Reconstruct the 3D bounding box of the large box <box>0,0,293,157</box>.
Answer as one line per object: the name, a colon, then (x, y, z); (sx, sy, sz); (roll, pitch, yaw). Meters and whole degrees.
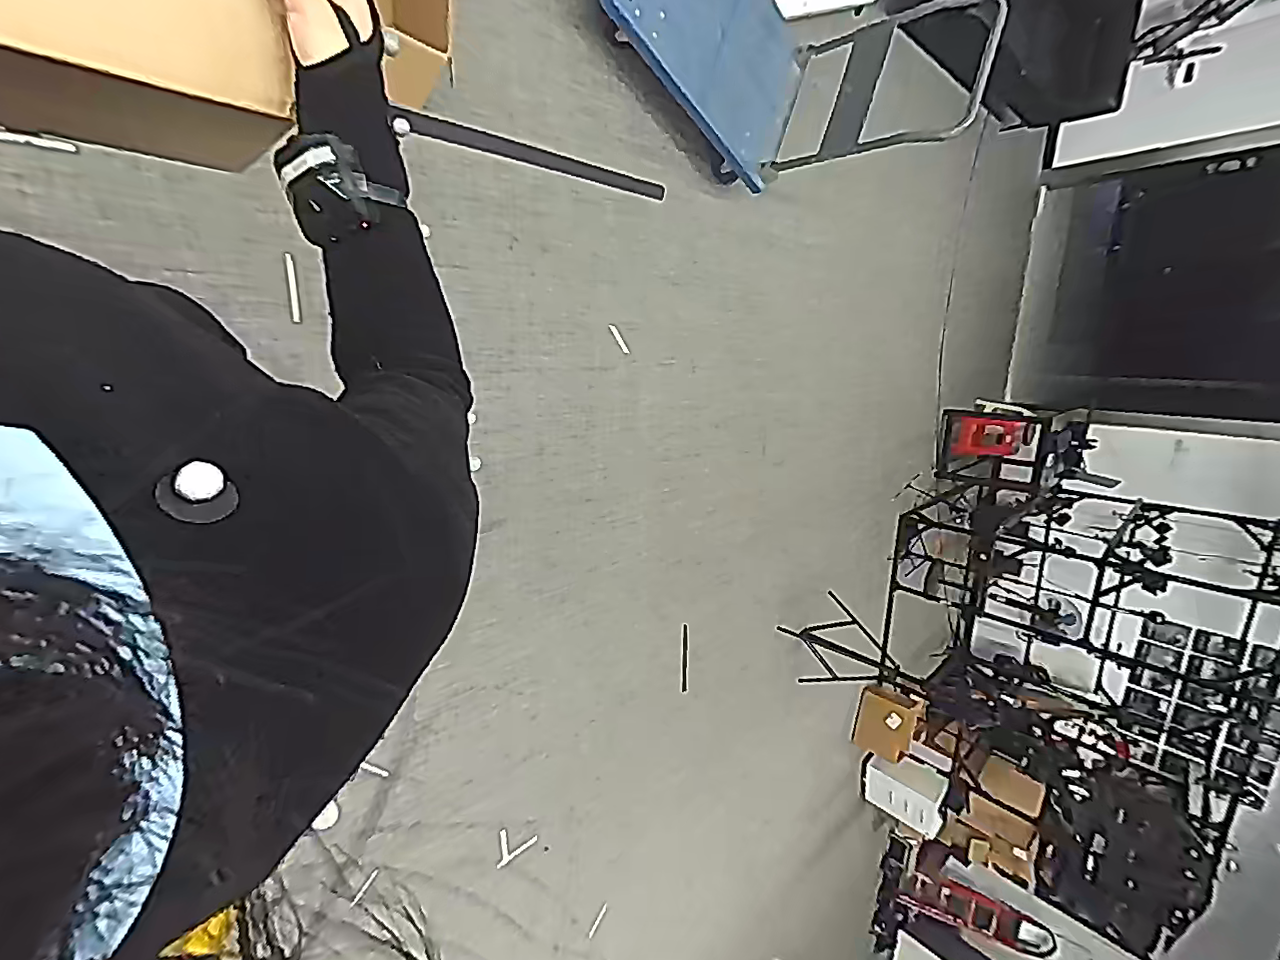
large box: (-0.504, -0.447, 0.357); (0.408, 0.320, 0.320); (-10, 111, -40)
